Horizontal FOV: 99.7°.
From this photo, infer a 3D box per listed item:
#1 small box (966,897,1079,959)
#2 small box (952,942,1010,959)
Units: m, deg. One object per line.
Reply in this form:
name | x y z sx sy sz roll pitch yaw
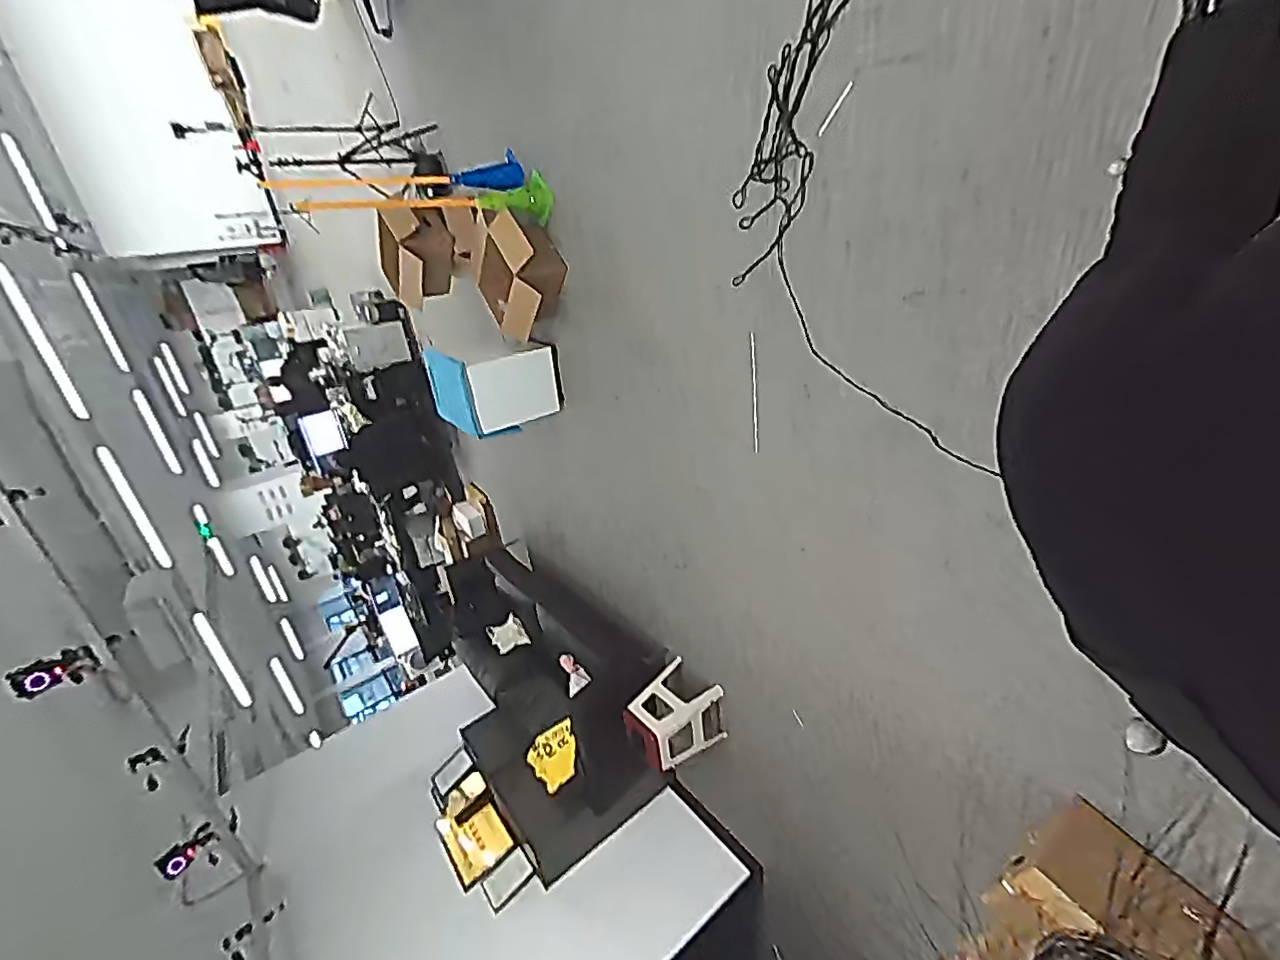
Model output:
small box | 1.023 1.273 1.450 0.168 0.176 0.179 42 142 35
small box | 0.890 1.324 1.372 0.179 0.176 0.168 43 142 33
